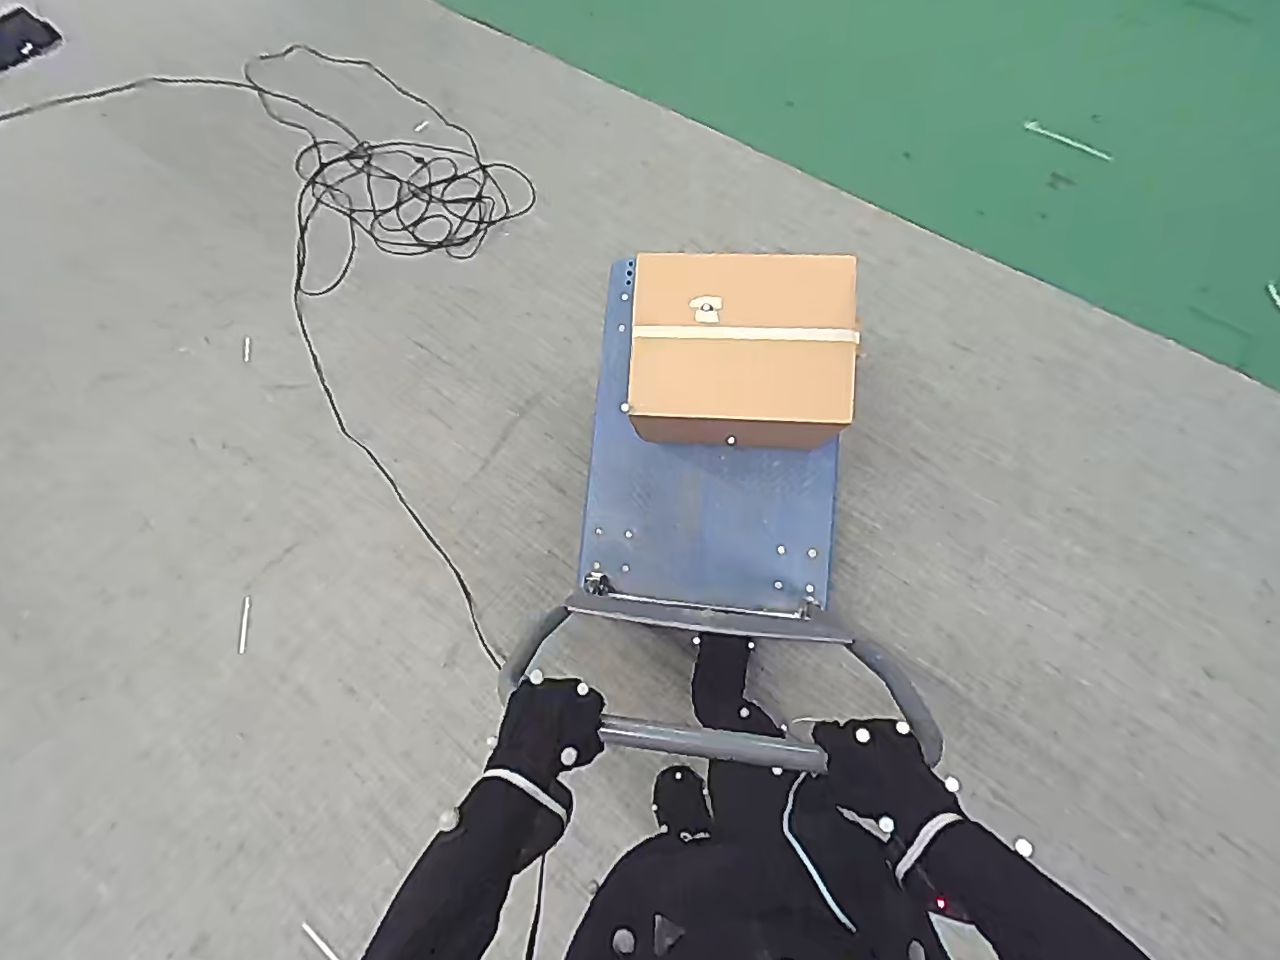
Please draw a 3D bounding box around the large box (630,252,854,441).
[{"bbox_3d":[0.202,-0.252,1.131,0.408,0.320,0.320,2,85,7],"label":"large box"}]
